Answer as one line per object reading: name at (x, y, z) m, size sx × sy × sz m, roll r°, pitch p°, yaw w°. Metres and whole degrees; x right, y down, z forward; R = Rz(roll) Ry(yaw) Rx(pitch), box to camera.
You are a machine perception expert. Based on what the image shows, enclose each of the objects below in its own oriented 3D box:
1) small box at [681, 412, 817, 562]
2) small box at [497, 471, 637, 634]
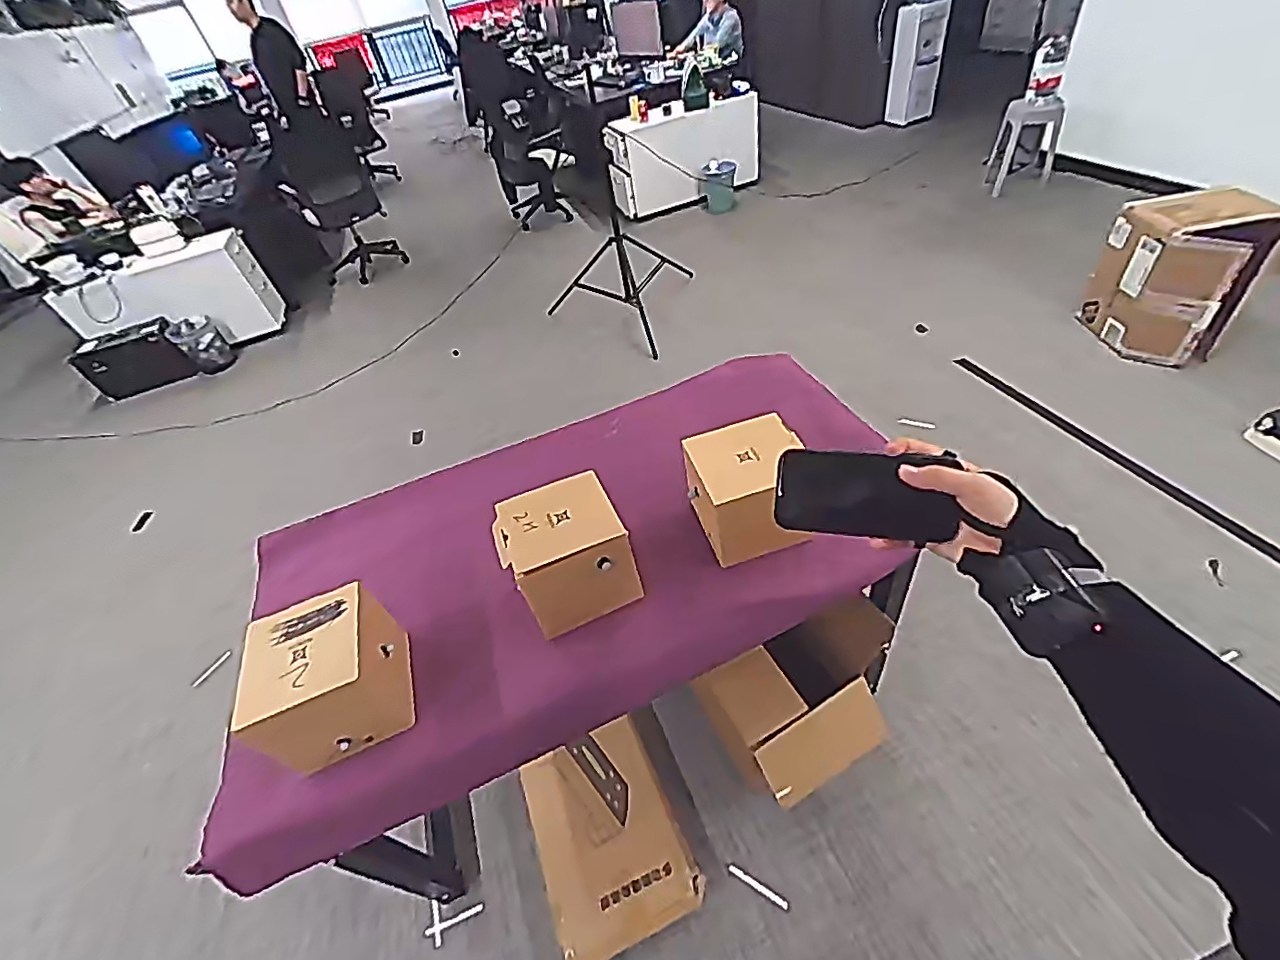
small box at (0.185, 0.015, 0.931) m, size 0.179 × 0.176 × 0.168 m, roll -17°, pitch 45°, yaw -4°
small box at (-0.114, 0.120, 0.895) m, size 0.179 × 0.176 × 0.168 m, roll -23°, pitch 43°, yaw -9°
